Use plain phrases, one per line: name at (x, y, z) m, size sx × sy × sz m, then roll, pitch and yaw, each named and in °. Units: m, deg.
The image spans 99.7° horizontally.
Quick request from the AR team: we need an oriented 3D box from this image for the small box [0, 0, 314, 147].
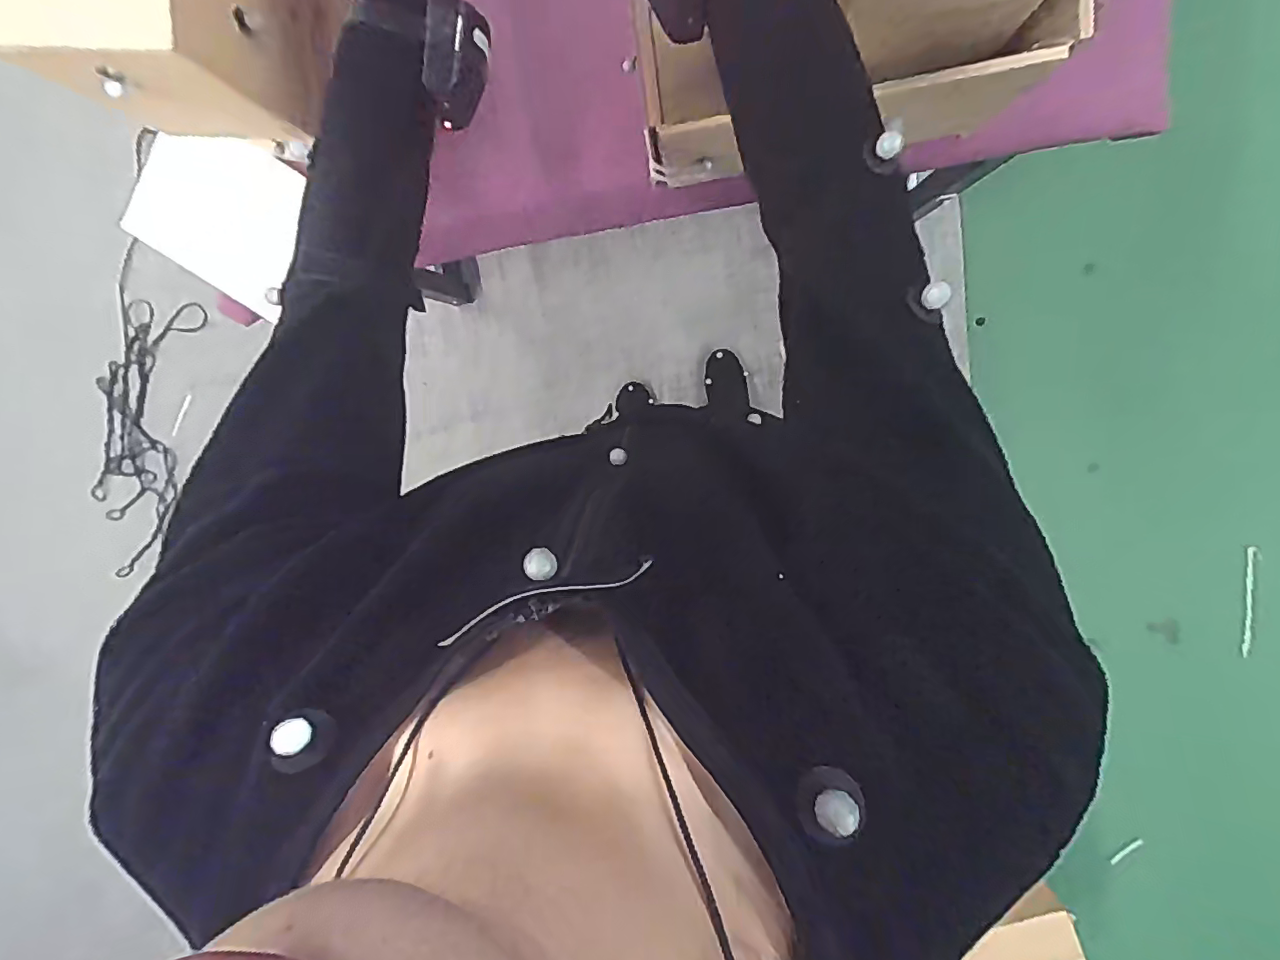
small box at (-0.420, -0.421, 0.483) m, size 0.179 × 0.176 × 0.168 m, roll 5°, pitch 102°, yaw 5°
